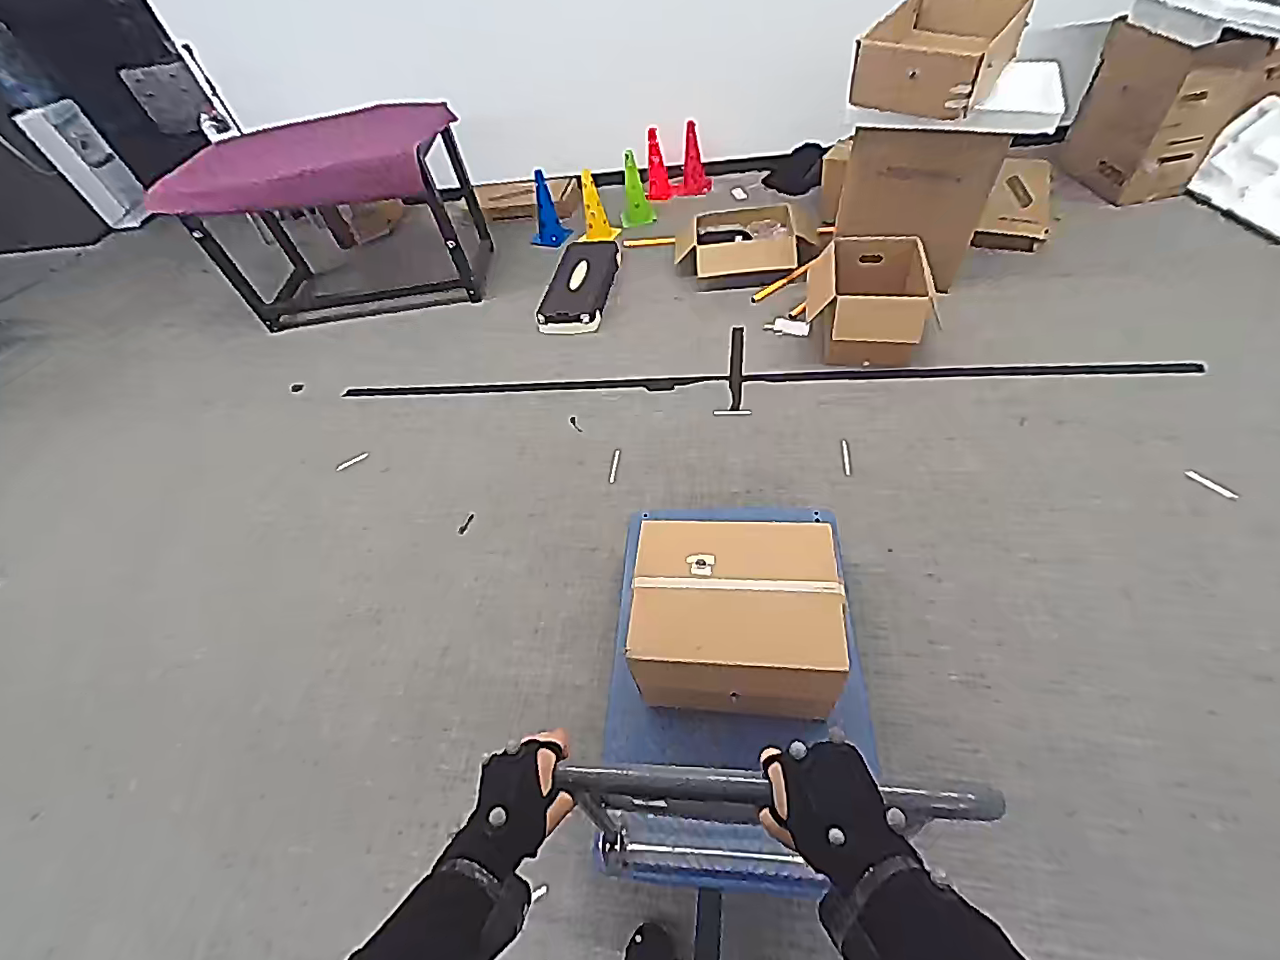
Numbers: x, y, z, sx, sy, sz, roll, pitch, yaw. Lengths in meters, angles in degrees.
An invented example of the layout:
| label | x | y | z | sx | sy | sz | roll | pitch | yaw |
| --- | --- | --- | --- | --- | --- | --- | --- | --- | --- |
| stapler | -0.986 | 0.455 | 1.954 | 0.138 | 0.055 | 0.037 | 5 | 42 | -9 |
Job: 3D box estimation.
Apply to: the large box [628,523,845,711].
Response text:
| label | x | y | z | sx | sy | sz | roll | pitch | yaw |
| --- | --- | --- | --- | --- | --- | --- | --- | --- | --- |
| large box | 0.209 | 0.308 | 1.205 | 0.408 | 0.320 | 0.320 | -1 | 51 | 10 |
